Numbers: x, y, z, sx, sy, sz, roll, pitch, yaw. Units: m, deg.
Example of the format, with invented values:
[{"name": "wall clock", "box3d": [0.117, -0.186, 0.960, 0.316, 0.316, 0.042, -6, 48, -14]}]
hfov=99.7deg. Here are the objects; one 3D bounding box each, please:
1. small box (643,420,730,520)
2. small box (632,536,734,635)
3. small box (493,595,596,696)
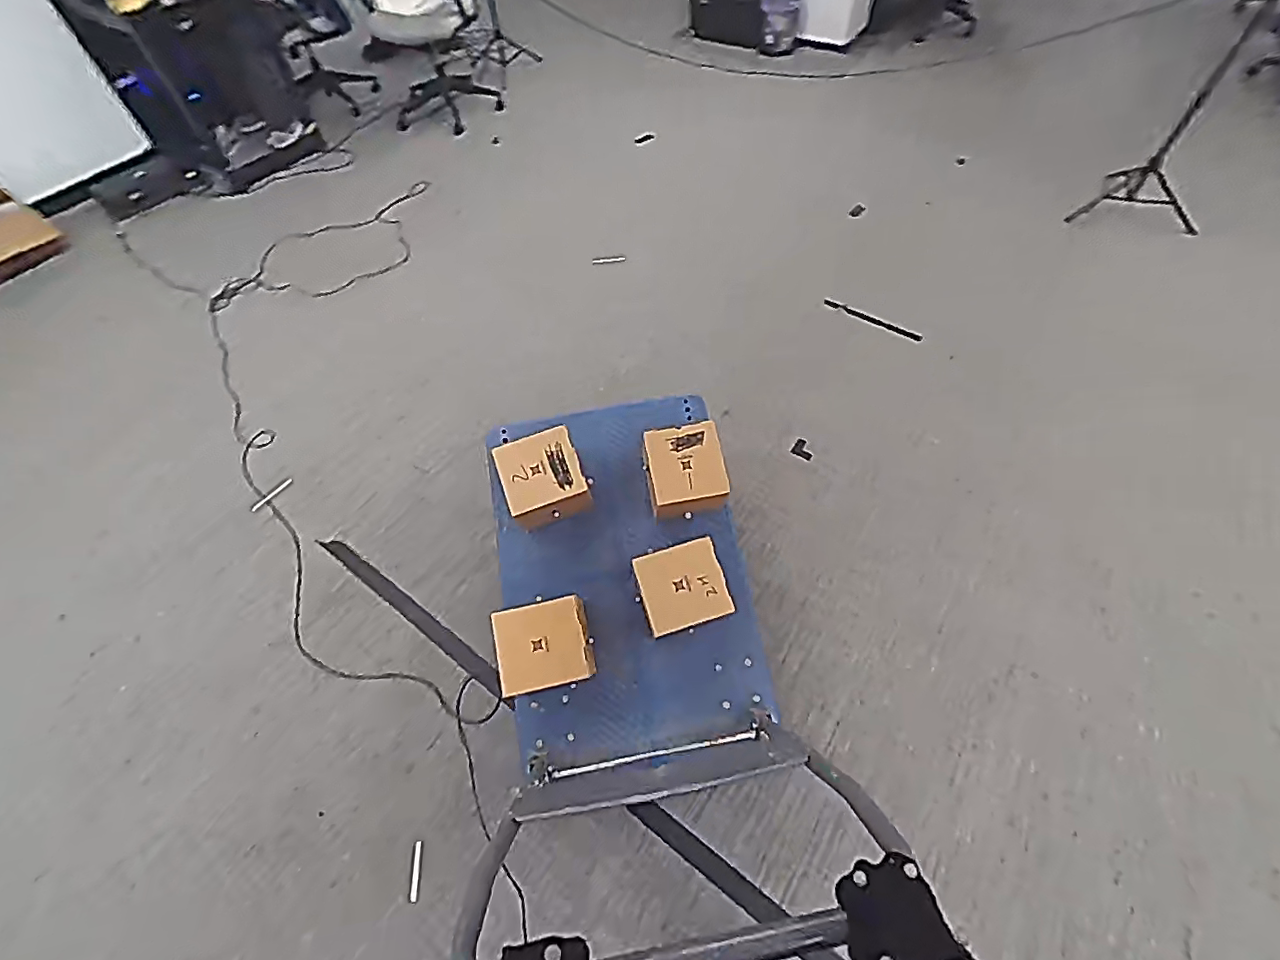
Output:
[{"name": "small box", "box3d": [0.101, -0.019, 1.270, 0.168, 0.176, 0.179, -10, 75, -3]}, {"name": "small box", "box3d": [0.089, 0.239, 1.193, 0.179, 0.176, 0.168, -17, 75, -5]}, {"name": "small box", "box3d": [-0.199, 0.354, 1.159, 0.179, 0.176, 0.168, -13, 74, -5]}]
